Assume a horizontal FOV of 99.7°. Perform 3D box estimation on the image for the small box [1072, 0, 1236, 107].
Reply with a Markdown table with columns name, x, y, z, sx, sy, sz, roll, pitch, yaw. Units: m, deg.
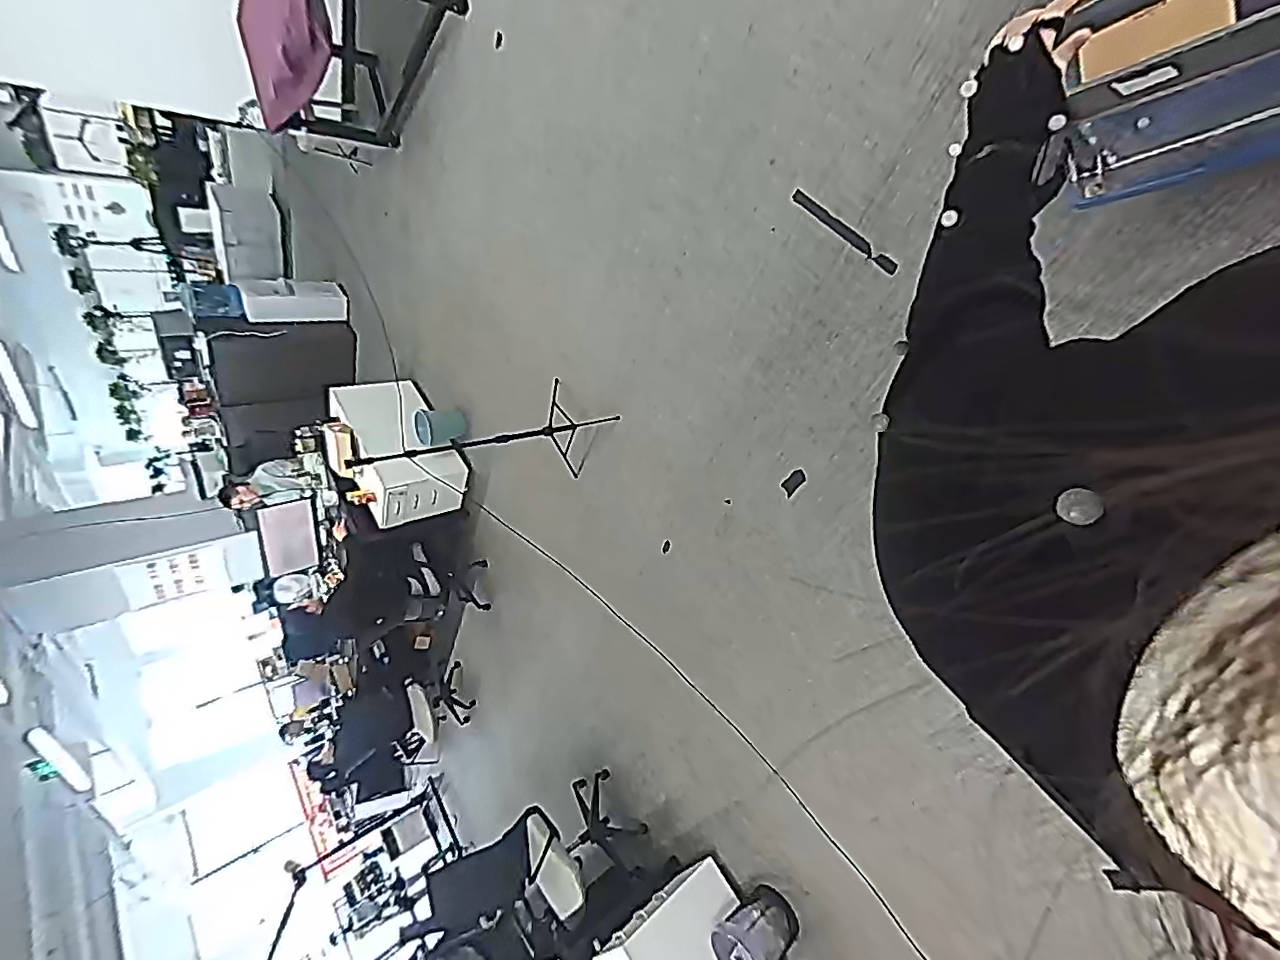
| name | x | y | z | sx | sy | sz | roll | pitch | yaw |
| --- | --- | --- | --- | --- | --- | --- | --- | --- | --- |
| small box | 0.792 | -0.712 | 0.834 | 0.168 | 0.176 | 0.179 | -5 | 100 | 49 |
